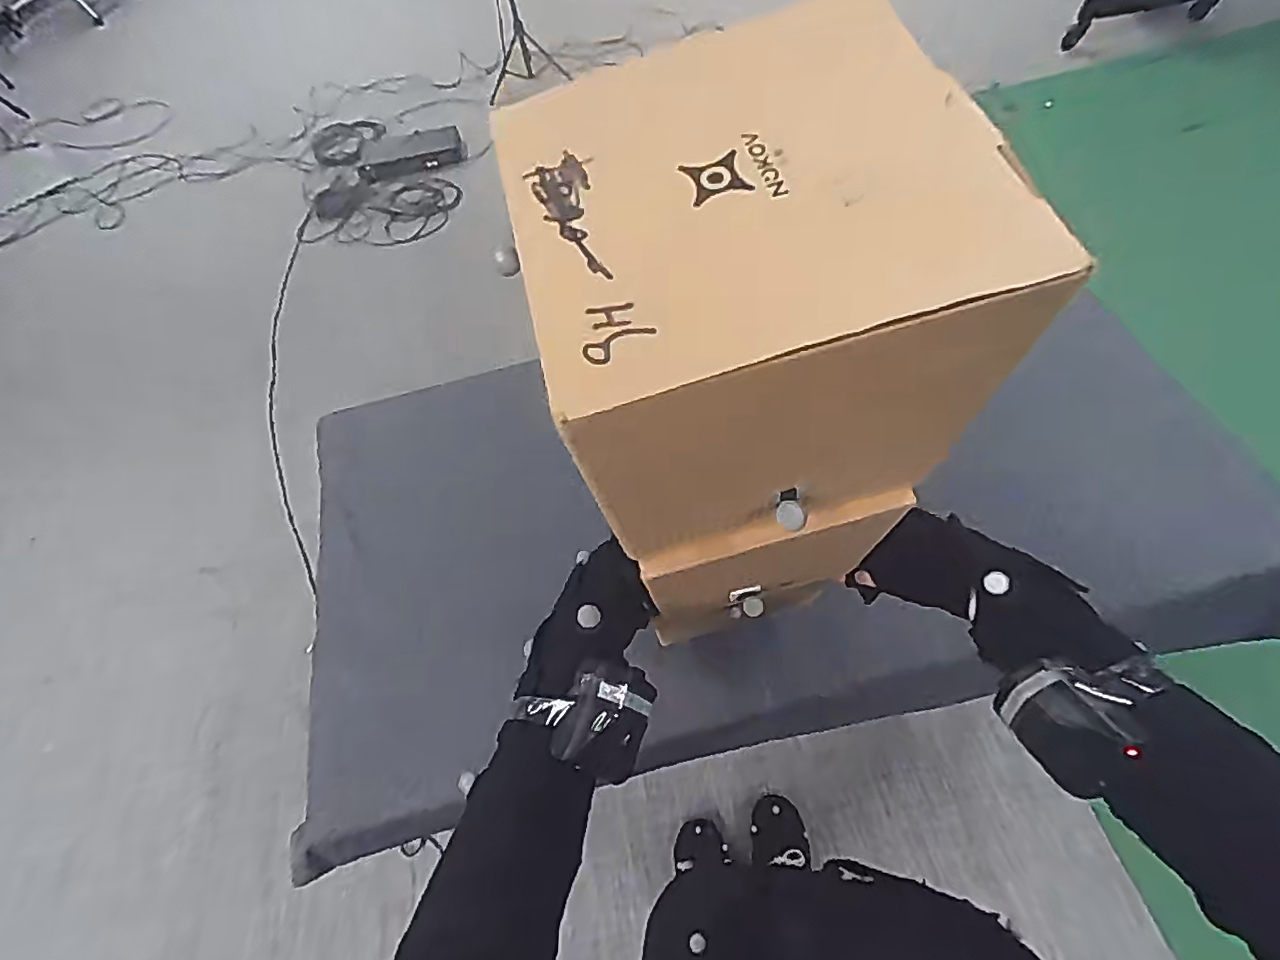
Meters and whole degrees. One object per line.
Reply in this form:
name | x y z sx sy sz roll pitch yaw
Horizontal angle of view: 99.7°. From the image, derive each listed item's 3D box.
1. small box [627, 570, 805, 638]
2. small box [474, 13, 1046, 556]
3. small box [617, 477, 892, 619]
small box | 0.073 0.057 0.570 0.179 0.176 0.168 -15 65 0
small box | 0.038 -0.076 0.275 0.179 0.176 0.168 -15 65 1
small box | 0.060 -0.007 0.421 0.168 0.176 0.179 -15 65 2
